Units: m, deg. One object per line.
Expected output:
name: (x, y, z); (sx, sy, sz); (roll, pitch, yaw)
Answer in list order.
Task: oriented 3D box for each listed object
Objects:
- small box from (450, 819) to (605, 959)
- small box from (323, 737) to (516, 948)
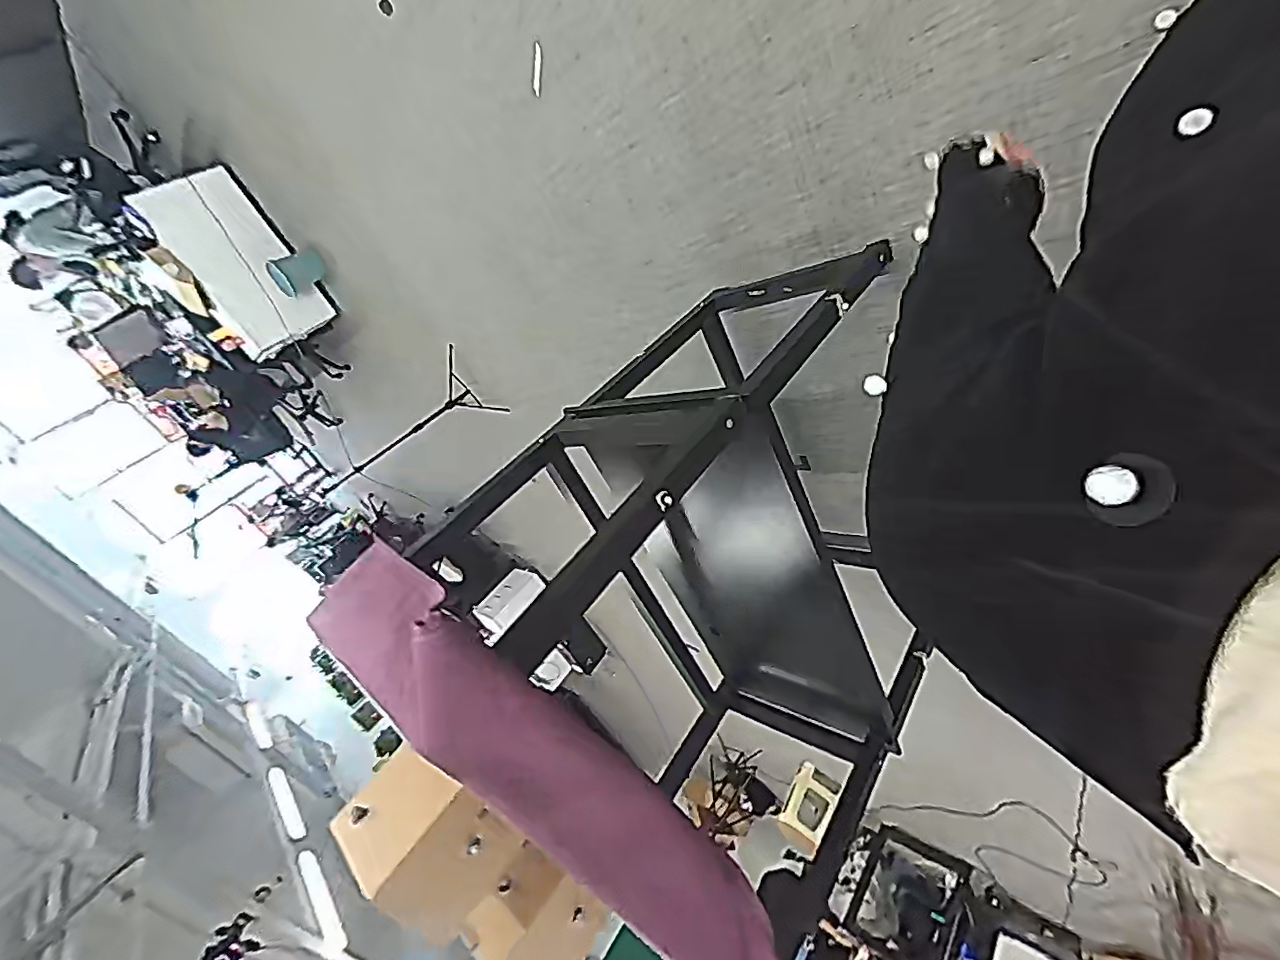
small box: (-0.191, 0.720, 0.910); (0.168, 0.176, 0.179); (8, 134, 46)
small box: (-0.315, 0.512, 0.792); (0.179, 0.176, 0.168); (7, 135, 46)
